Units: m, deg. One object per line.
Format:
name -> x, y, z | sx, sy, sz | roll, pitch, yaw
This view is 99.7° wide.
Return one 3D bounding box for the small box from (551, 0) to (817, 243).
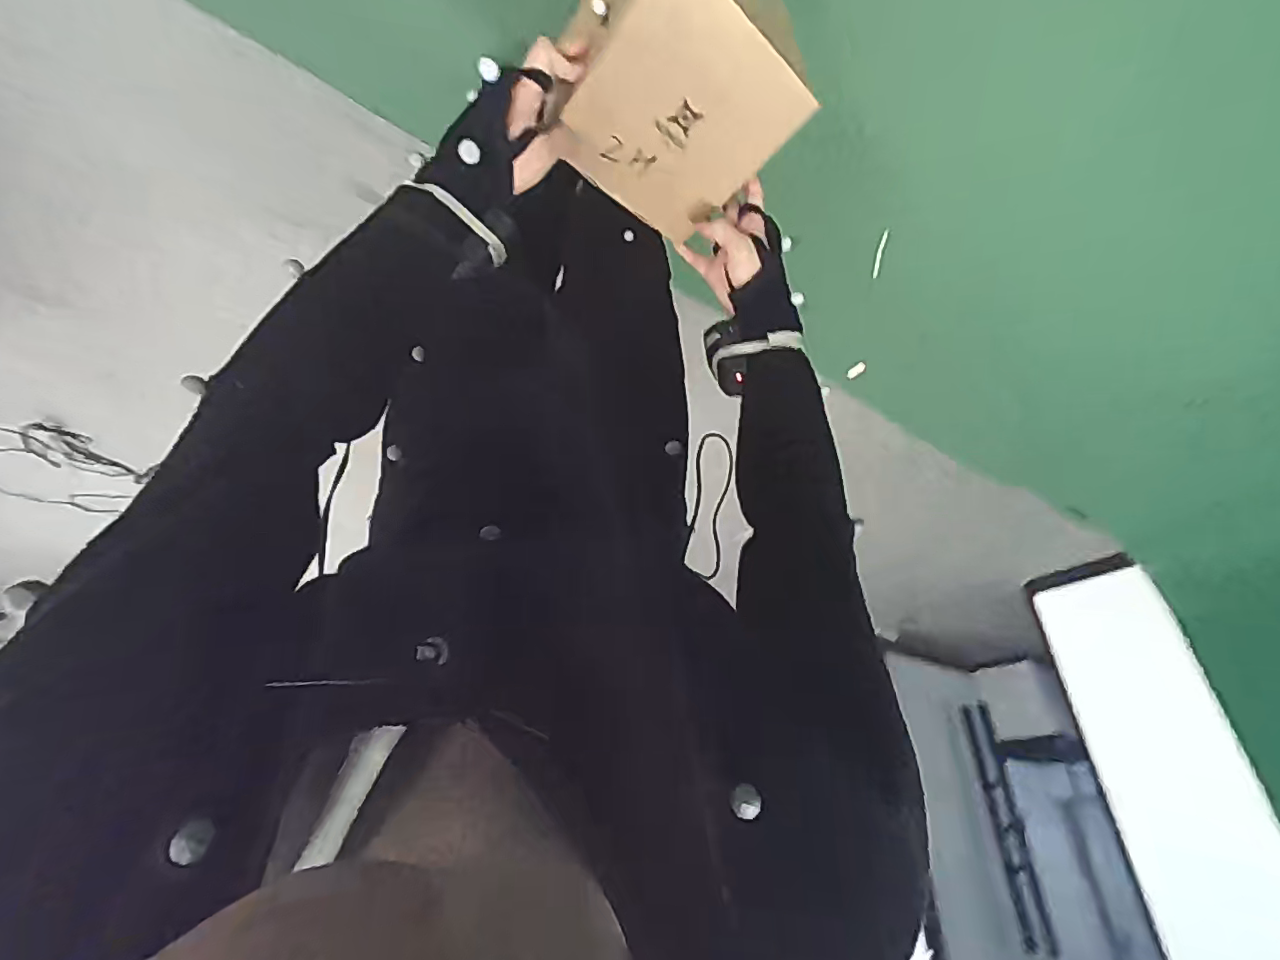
small box -> 0.033, -0.375, 0.505 | 0.168, 0.176, 0.179 | 21, 144, -33
